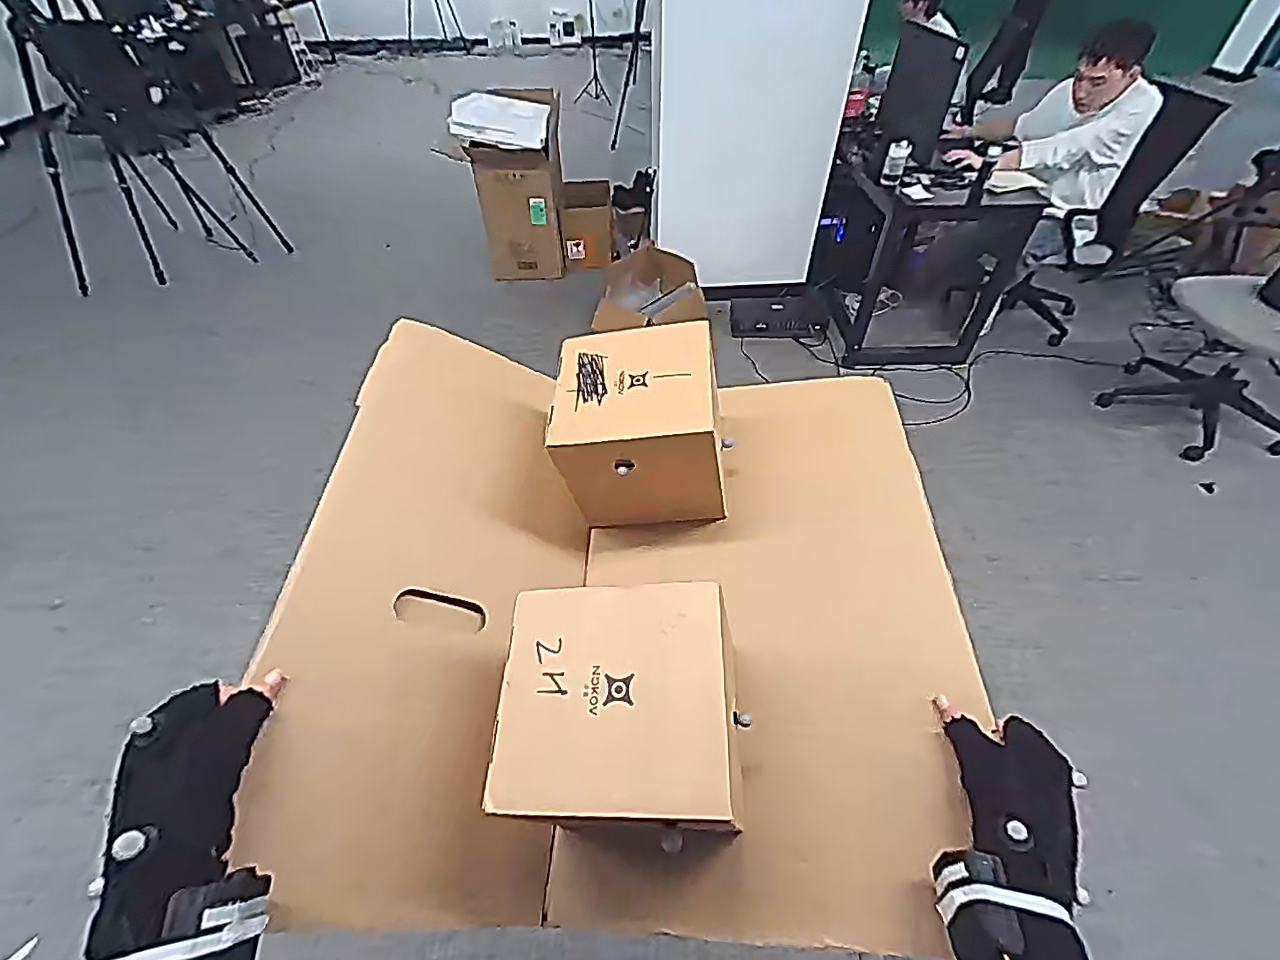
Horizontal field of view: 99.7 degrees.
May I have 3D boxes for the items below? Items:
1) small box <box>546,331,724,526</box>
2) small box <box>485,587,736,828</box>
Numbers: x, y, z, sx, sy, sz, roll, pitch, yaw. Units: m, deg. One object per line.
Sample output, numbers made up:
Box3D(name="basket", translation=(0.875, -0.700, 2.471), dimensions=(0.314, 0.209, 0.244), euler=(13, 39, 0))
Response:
Box3D(name="small box", translation=(0.005, -0.054, 0.661), dimensions=(0.179, 0.176, 0.168), euler=(-4, 55, 11))
Box3D(name="small box", translation=(-0.007, 0.206, 0.480), dimensions=(0.179, 0.176, 0.168), euler=(-5, 54, 12))
